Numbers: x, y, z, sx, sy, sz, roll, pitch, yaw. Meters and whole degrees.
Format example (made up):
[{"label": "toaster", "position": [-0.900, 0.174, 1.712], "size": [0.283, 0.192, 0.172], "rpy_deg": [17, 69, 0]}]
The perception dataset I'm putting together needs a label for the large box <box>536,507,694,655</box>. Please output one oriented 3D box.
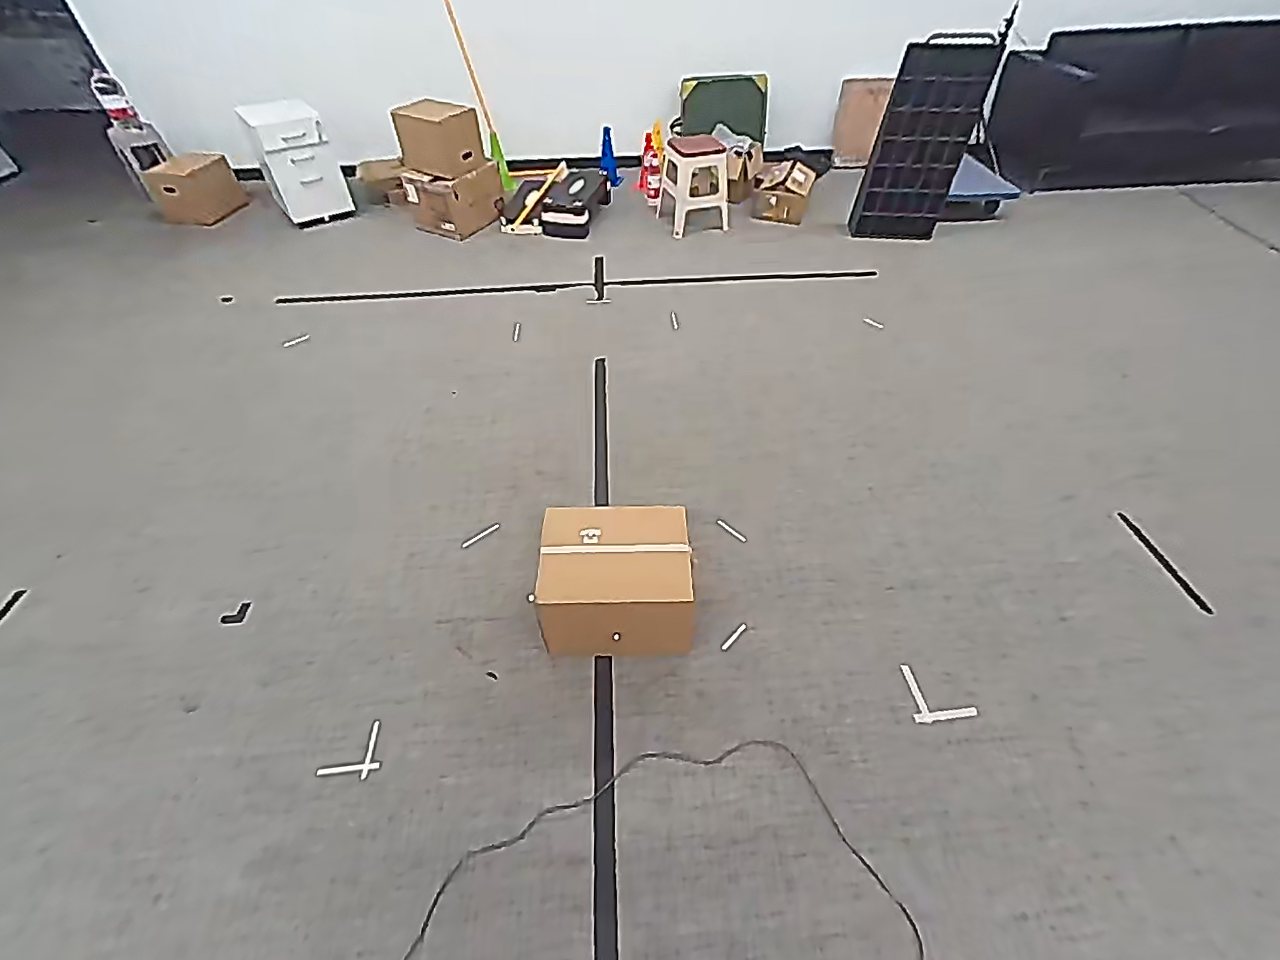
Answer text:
[{"label": "large box", "position": [-0.063, 0.298, 1.569], "size": [0.408, 0.320, 0.320], "rpy_deg": [-1, 47, 0]}]
